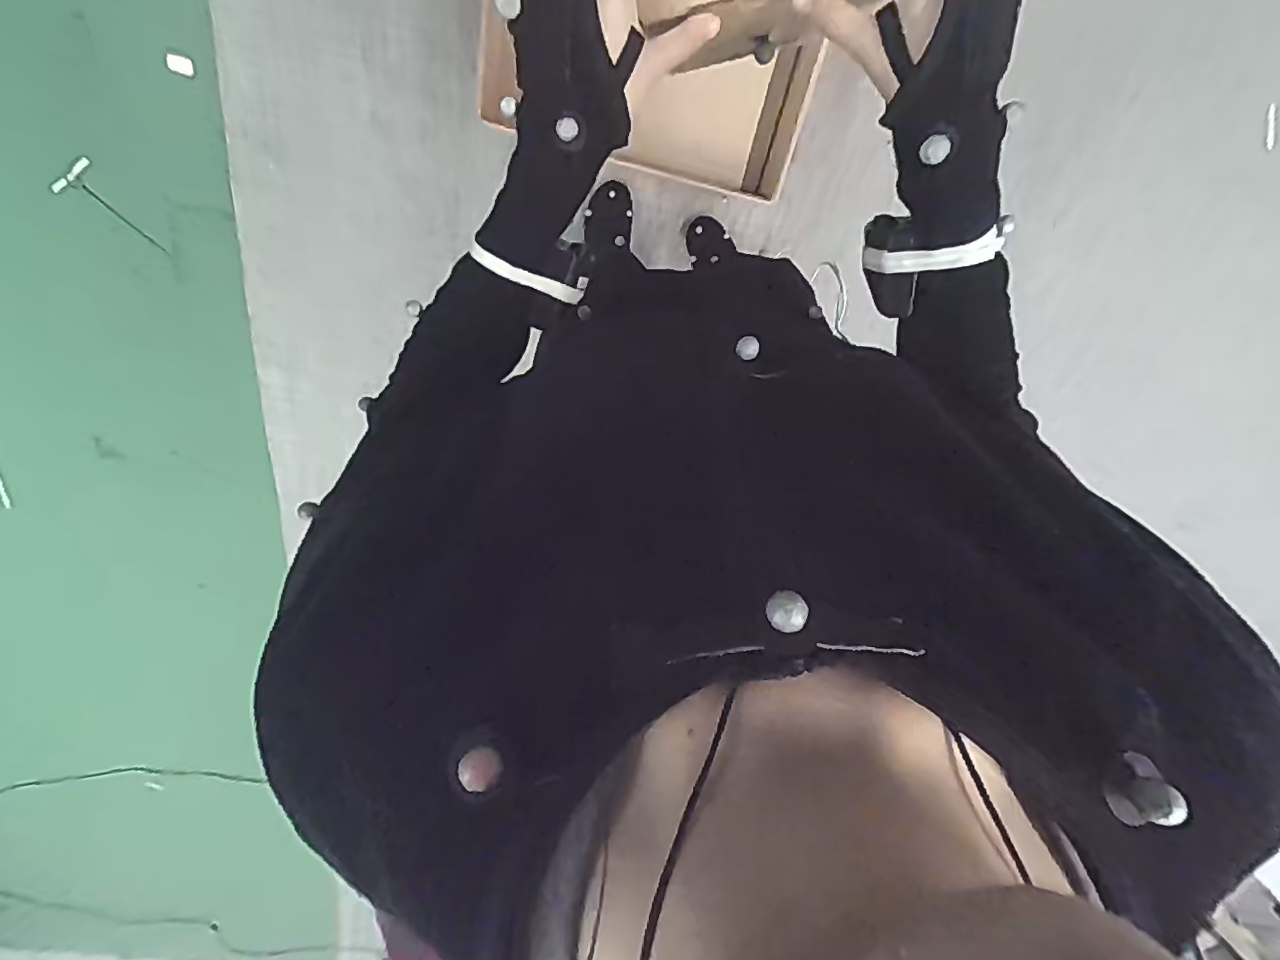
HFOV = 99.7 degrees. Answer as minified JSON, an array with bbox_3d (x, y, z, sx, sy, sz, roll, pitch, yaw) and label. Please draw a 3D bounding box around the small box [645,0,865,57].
[{"bbox_3d":[0.074,-0.410,0.346,0.168,0.176,0.179,-4,117,12],"label":"small box"}]
